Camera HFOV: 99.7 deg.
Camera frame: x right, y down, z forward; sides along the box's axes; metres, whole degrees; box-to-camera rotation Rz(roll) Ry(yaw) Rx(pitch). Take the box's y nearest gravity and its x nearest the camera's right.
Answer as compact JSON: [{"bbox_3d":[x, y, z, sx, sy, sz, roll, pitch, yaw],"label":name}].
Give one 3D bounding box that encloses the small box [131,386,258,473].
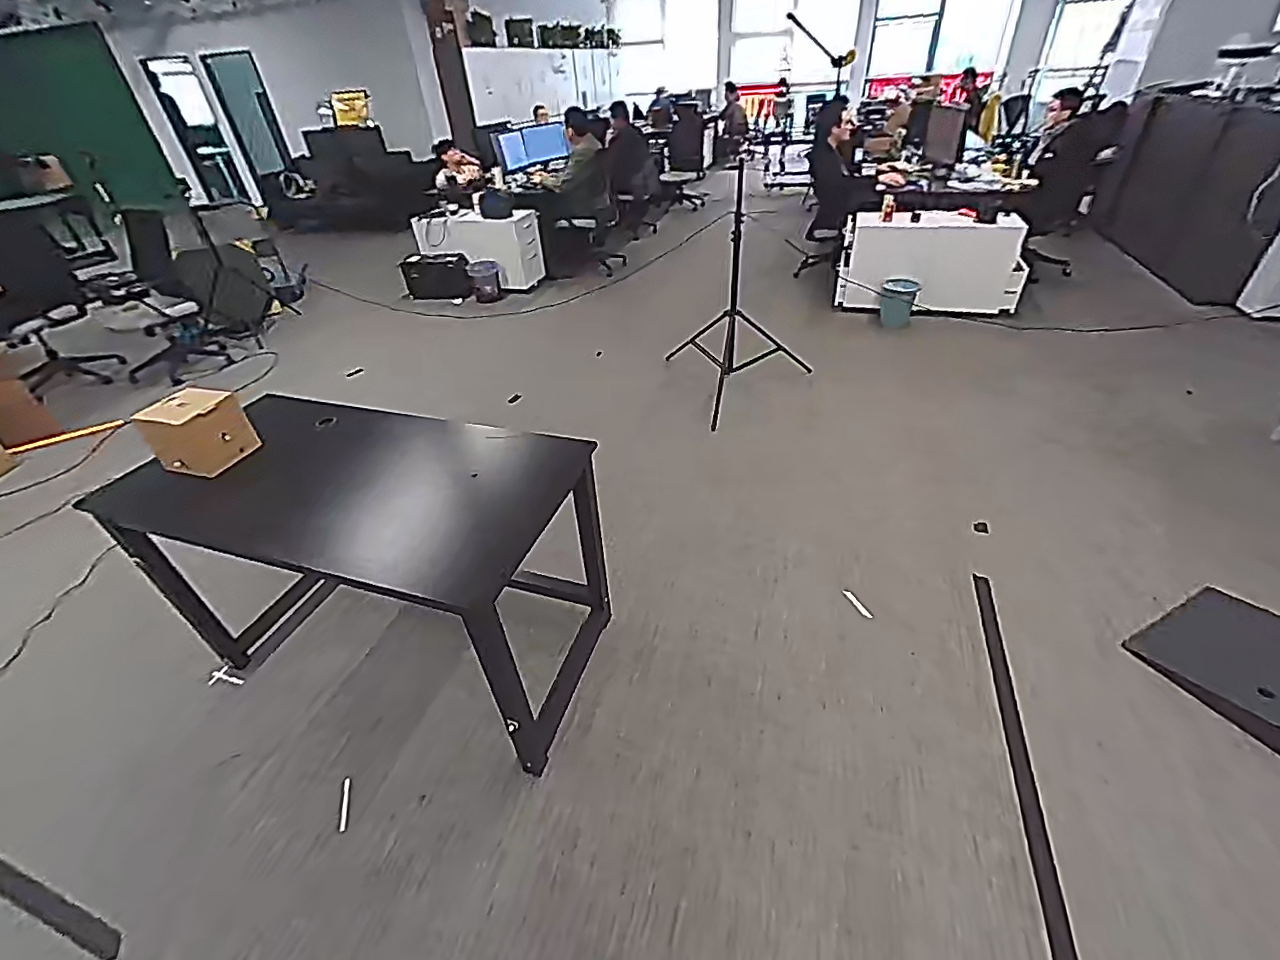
[{"bbox_3d":[-1.195,-0.136,1.467,0.179,0.176,0.168,9,38,14],"label":"small box"}]
